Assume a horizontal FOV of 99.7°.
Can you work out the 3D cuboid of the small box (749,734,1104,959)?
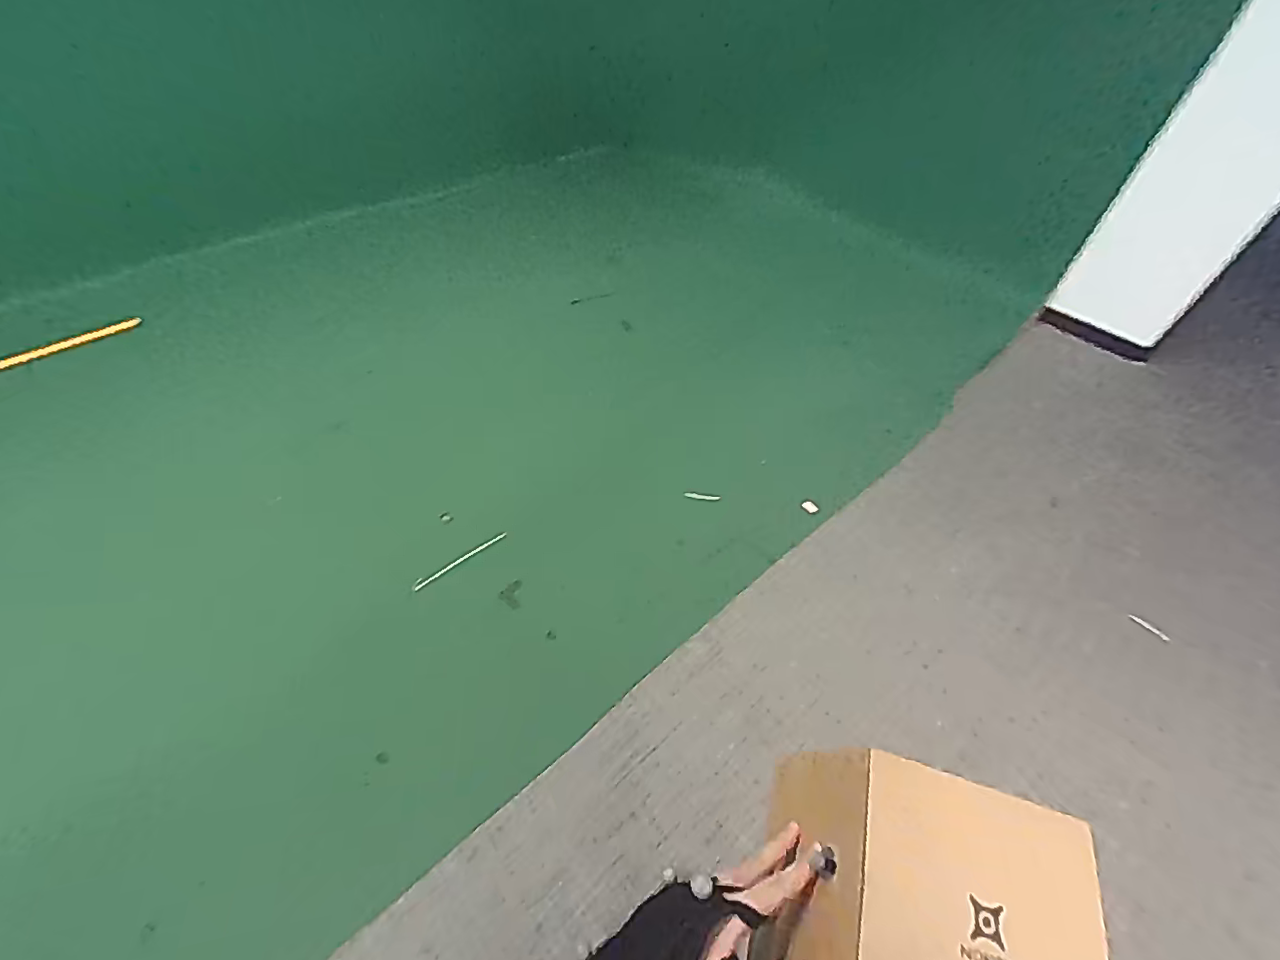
[{"bbox_3d":[0.195,0.312,0.403,0.168,0.176,0.179,19,59,0],"label":"small box"}]
